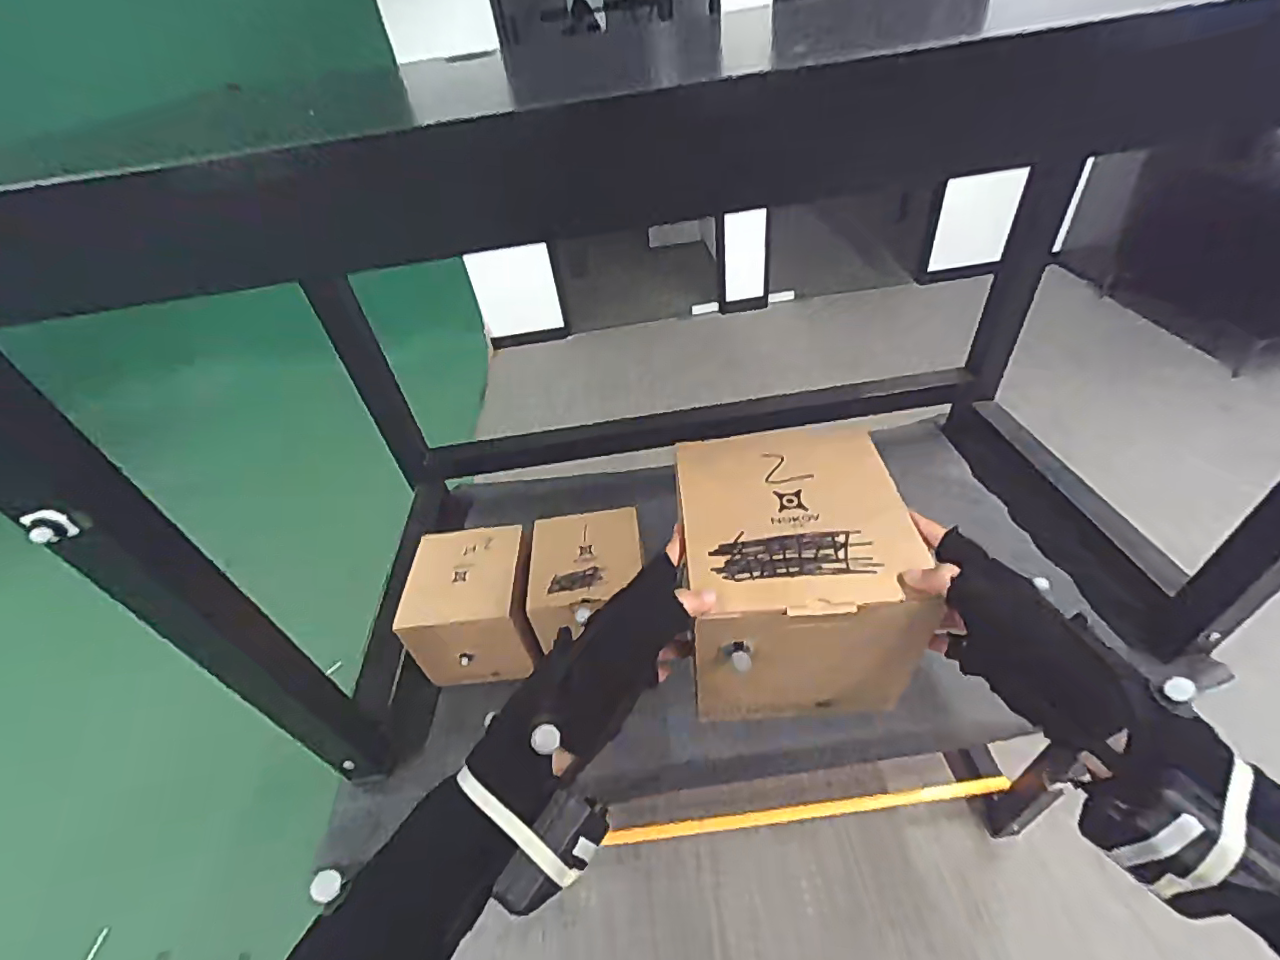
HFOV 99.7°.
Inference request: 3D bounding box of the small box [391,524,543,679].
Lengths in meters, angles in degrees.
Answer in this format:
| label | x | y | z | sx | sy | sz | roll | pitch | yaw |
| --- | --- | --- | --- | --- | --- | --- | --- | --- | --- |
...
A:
| label | x | y | z | sx | sy | sz | roll | pitch | yaw |
| --- | --- | --- | --- | --- | --- | --- | --- | --- | --- |
| small box | -0.253 | 0.194 | 0.844 | 0.168 | 0.176 | 0.179 | -6 | 41 | 2 |
